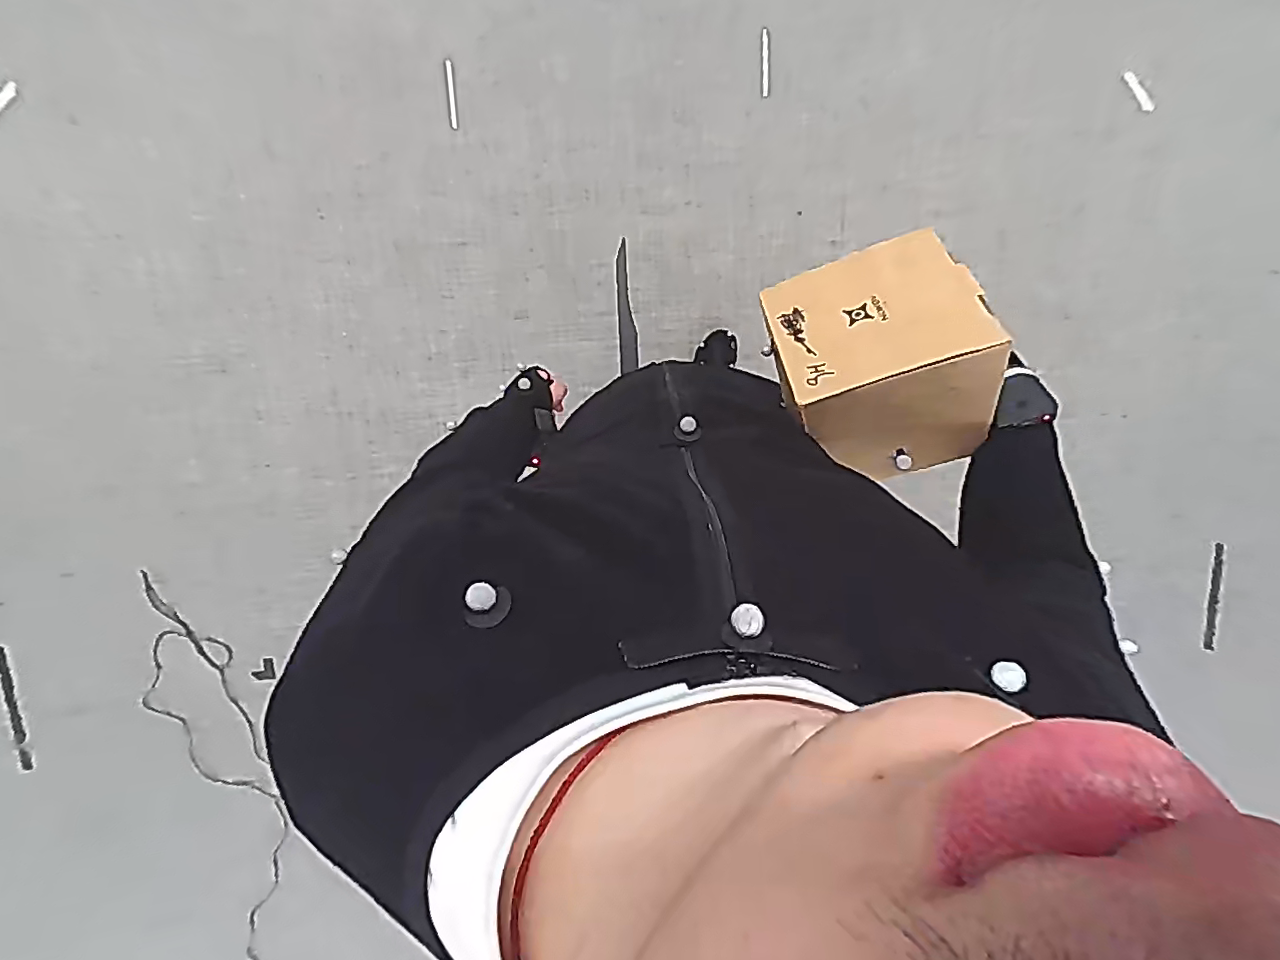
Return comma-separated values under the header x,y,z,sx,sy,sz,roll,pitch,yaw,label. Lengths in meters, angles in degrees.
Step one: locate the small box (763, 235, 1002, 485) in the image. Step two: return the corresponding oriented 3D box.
x,y,z,sx,sy,sz,roll,pitch,yaw,label
0.247,-0.119,0.584,0.179,0.168,0.176,-17,143,14,small box
